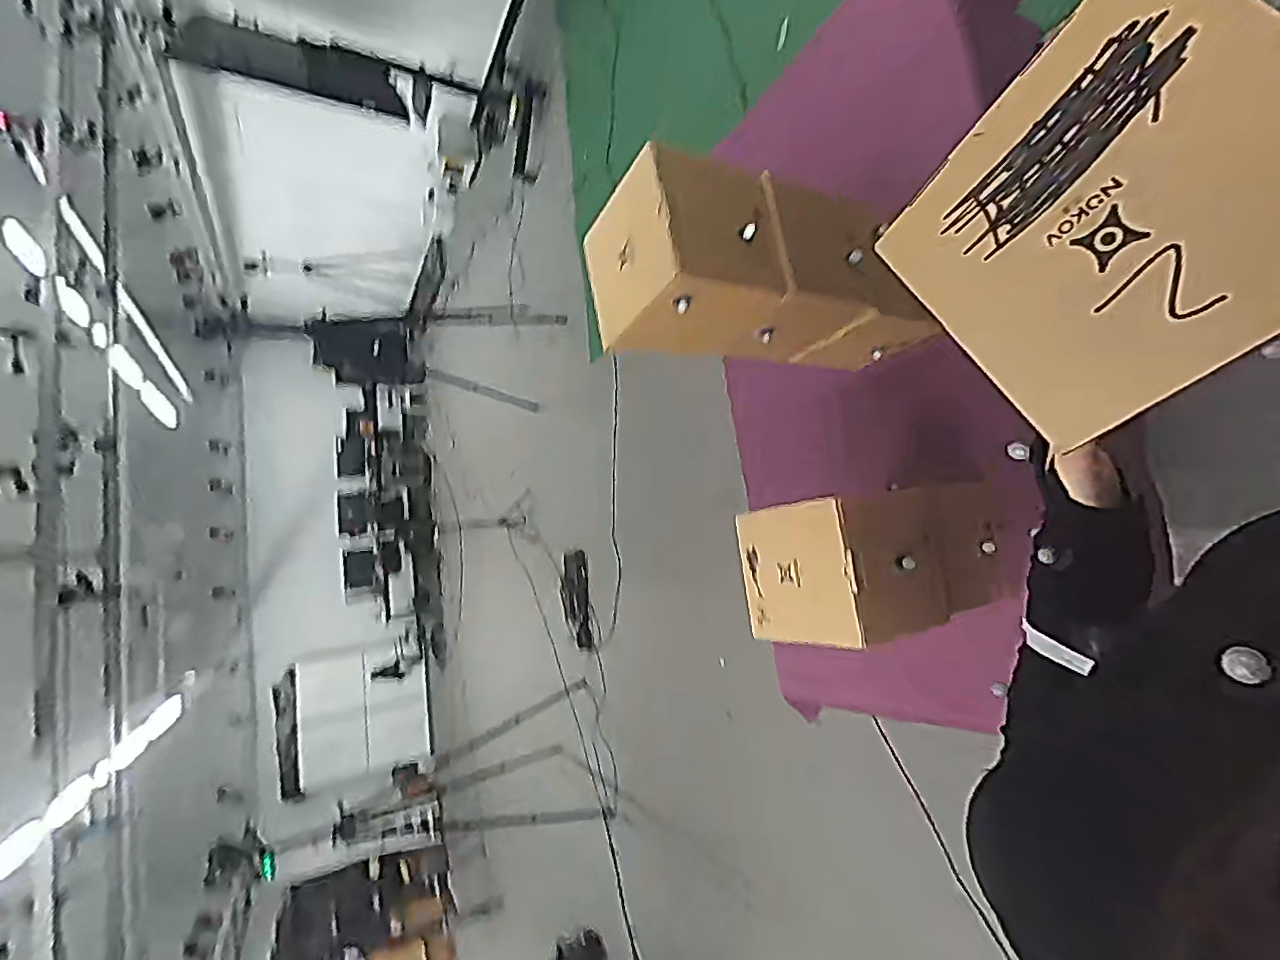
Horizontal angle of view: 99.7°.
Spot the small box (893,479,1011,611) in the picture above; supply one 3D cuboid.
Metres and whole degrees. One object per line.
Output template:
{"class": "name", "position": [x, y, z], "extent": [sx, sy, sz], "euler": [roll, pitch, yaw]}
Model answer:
{"class": "small box", "position": [0.399, 0.094, 0.794], "extent": [0.179, 0.176, 0.168], "euler": [-20, 76, 57]}

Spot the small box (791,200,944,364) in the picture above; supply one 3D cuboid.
{"class": "small box", "position": [0.341, -0.296, 0.851], "extent": [0.168, 0.176, 0.179], "euler": [-24, 73, 58]}

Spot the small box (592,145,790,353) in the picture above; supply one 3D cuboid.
{"class": "small box", "position": [0.059, -0.274, 0.690], "extent": [0.179, 0.176, 0.168], "euler": [-28, 69, 55]}

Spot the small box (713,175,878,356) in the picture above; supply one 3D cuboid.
{"class": "small box", "position": [0.200, -0.287, 0.769], "extent": [0.179, 0.176, 0.168], "euler": [-25, 73, 56]}

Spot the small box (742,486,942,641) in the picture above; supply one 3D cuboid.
{"class": "small box", "position": [0.263, 0.104, 0.703], "extent": [0.179, 0.176, 0.168], "euler": [-19, 76, 57]}
